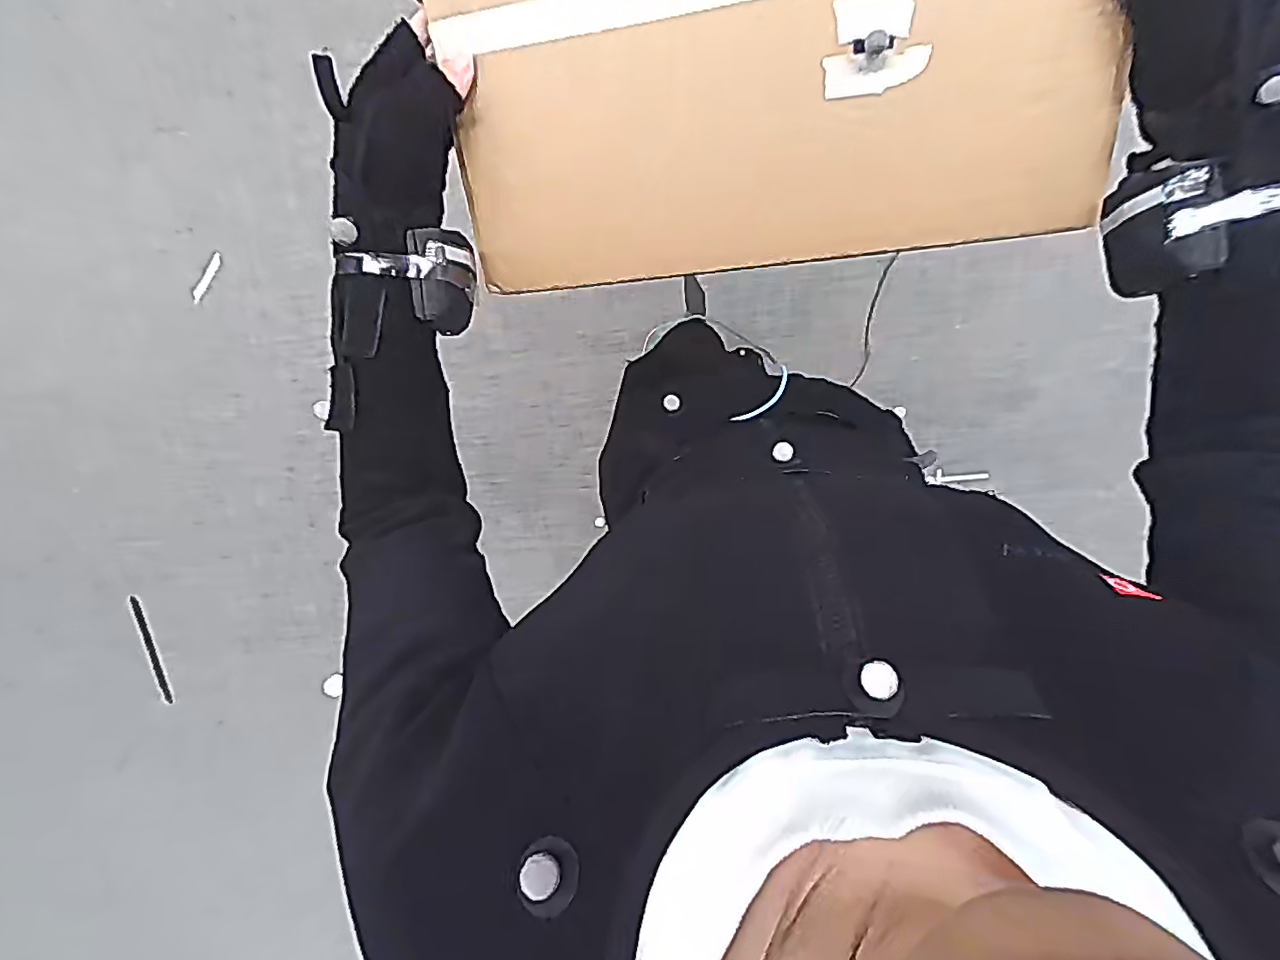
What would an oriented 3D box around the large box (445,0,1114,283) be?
[{"bbox_3d":[0.089,-0.363,0.460,0.408,0.320,0.320,-3,114,10],"label":"large box"}]
